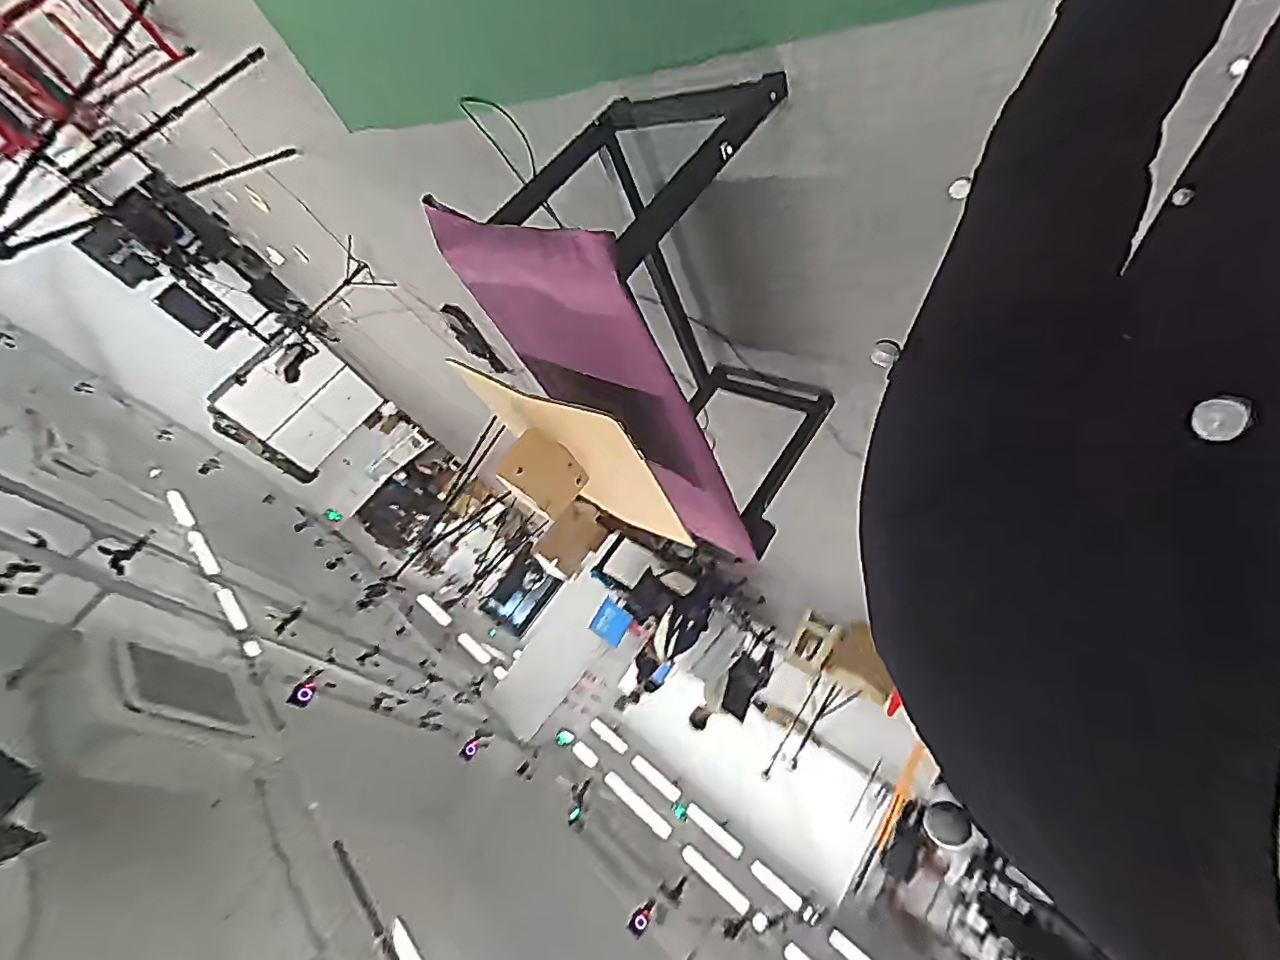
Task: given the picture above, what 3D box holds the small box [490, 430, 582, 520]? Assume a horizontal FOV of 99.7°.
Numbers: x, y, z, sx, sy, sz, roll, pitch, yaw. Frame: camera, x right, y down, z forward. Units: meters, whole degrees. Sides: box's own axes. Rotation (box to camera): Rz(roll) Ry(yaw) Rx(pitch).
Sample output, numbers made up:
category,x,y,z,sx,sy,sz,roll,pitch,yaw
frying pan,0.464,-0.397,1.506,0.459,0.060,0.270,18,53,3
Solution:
category,x,y,z,sx,sy,sz,roll,pitch,yaw
small box,-0.290,-0.019,1.563,0.179,0.176,0.168,28,161,37
